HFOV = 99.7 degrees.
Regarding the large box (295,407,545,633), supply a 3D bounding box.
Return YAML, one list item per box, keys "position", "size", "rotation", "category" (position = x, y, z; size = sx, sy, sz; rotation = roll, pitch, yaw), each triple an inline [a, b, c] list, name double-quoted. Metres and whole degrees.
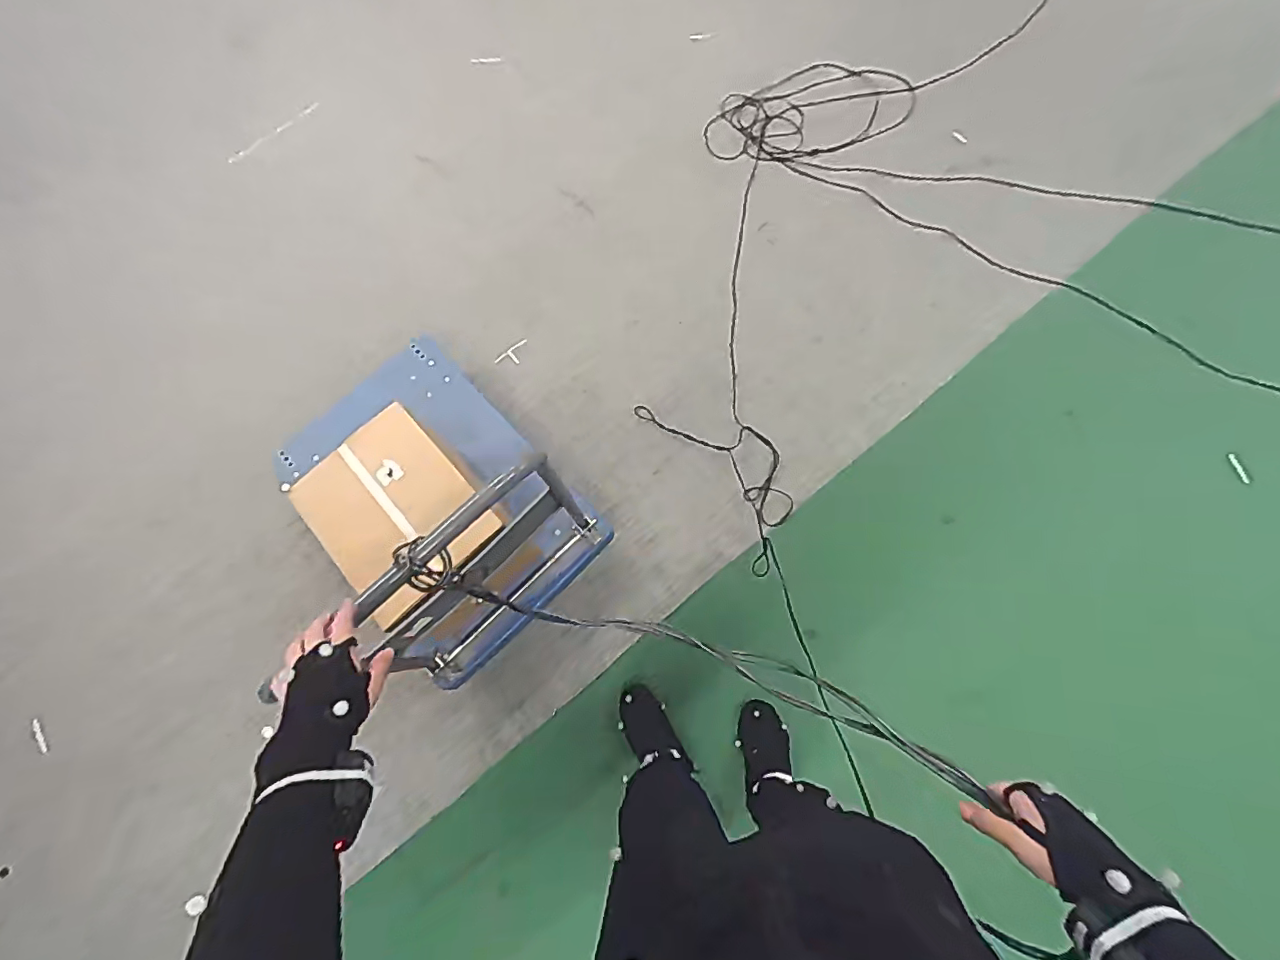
- position: [-0.500, 0.110, 1.292]
  size: [0.320, 0.320, 0.408]
  rotation: [-43, 72, -9]
  category: "large box"
